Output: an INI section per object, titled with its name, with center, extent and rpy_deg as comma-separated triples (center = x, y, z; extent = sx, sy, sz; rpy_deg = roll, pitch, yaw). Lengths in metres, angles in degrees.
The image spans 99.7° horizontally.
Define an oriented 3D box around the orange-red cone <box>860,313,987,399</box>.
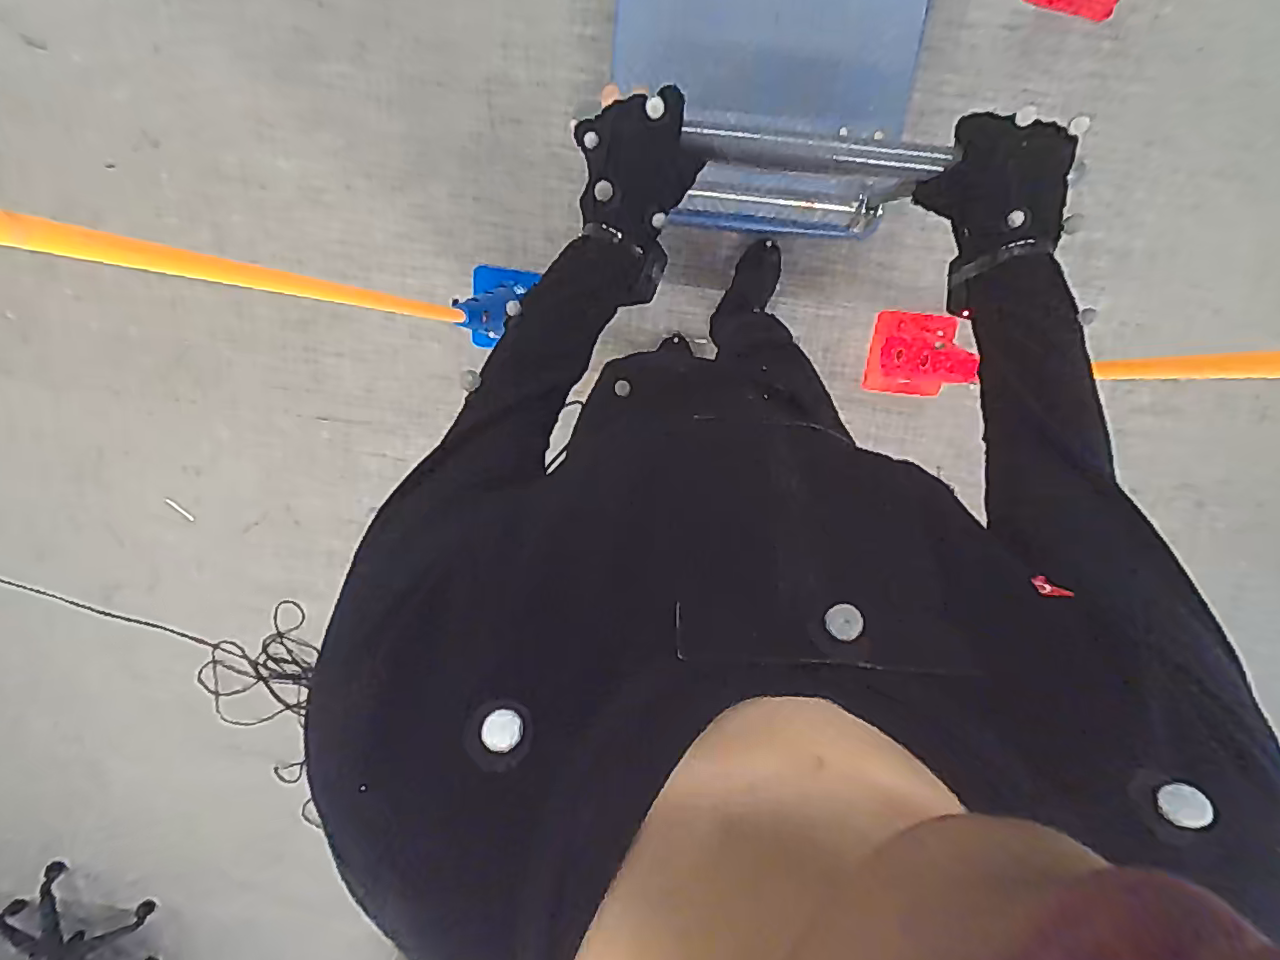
[orange-red cone]
center = 0.659, -0.260, 1.205
extent = 0.199, 0.360, 0.198
rpy_deg = 8, 108, 2
